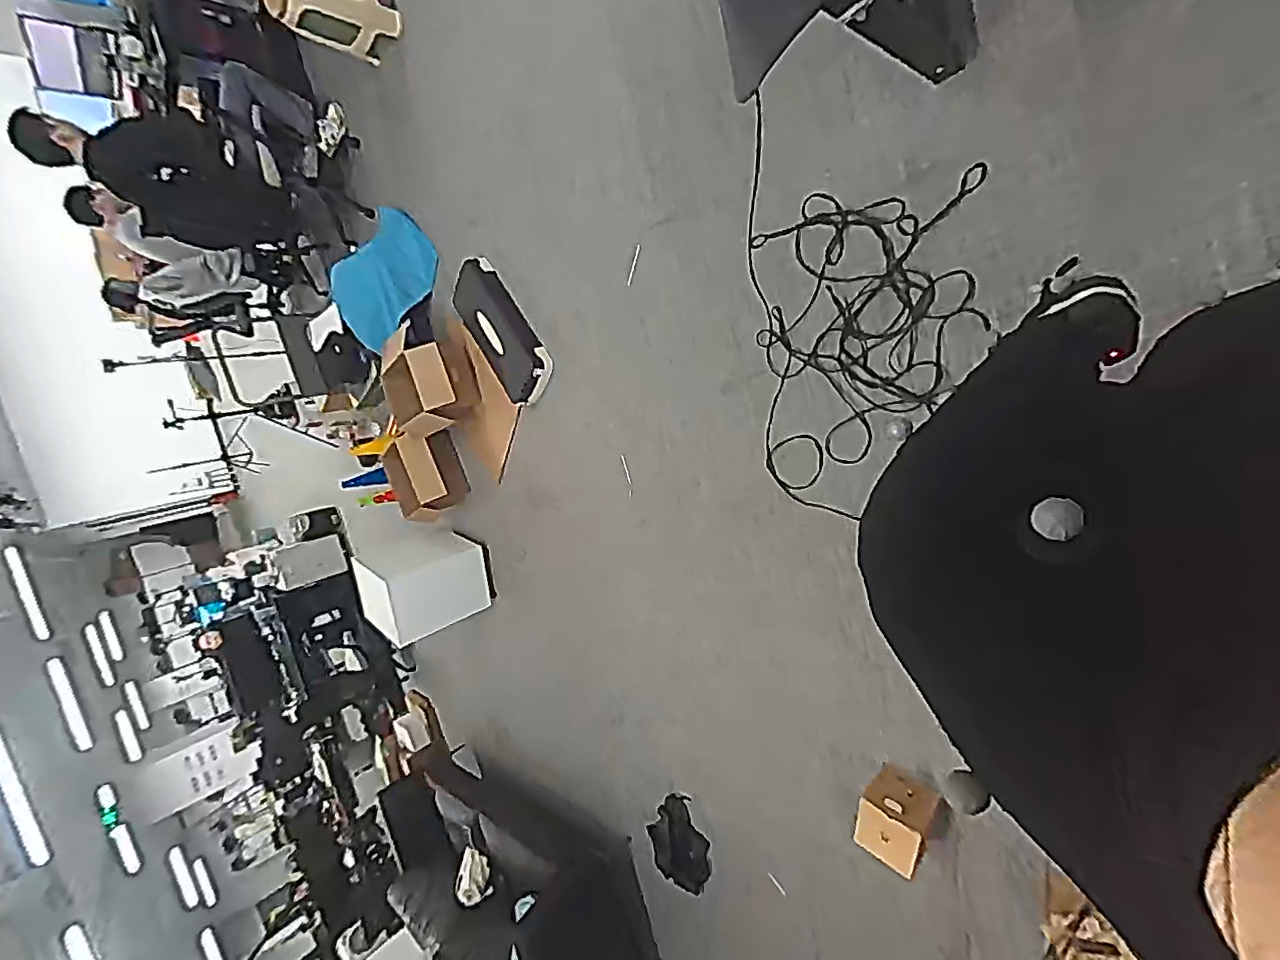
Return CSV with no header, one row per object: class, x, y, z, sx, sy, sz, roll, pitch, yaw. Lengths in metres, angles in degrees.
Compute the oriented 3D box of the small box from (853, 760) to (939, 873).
small box,0.739,0.961,1.558,0.168,0.176,0.179,19,118,42
